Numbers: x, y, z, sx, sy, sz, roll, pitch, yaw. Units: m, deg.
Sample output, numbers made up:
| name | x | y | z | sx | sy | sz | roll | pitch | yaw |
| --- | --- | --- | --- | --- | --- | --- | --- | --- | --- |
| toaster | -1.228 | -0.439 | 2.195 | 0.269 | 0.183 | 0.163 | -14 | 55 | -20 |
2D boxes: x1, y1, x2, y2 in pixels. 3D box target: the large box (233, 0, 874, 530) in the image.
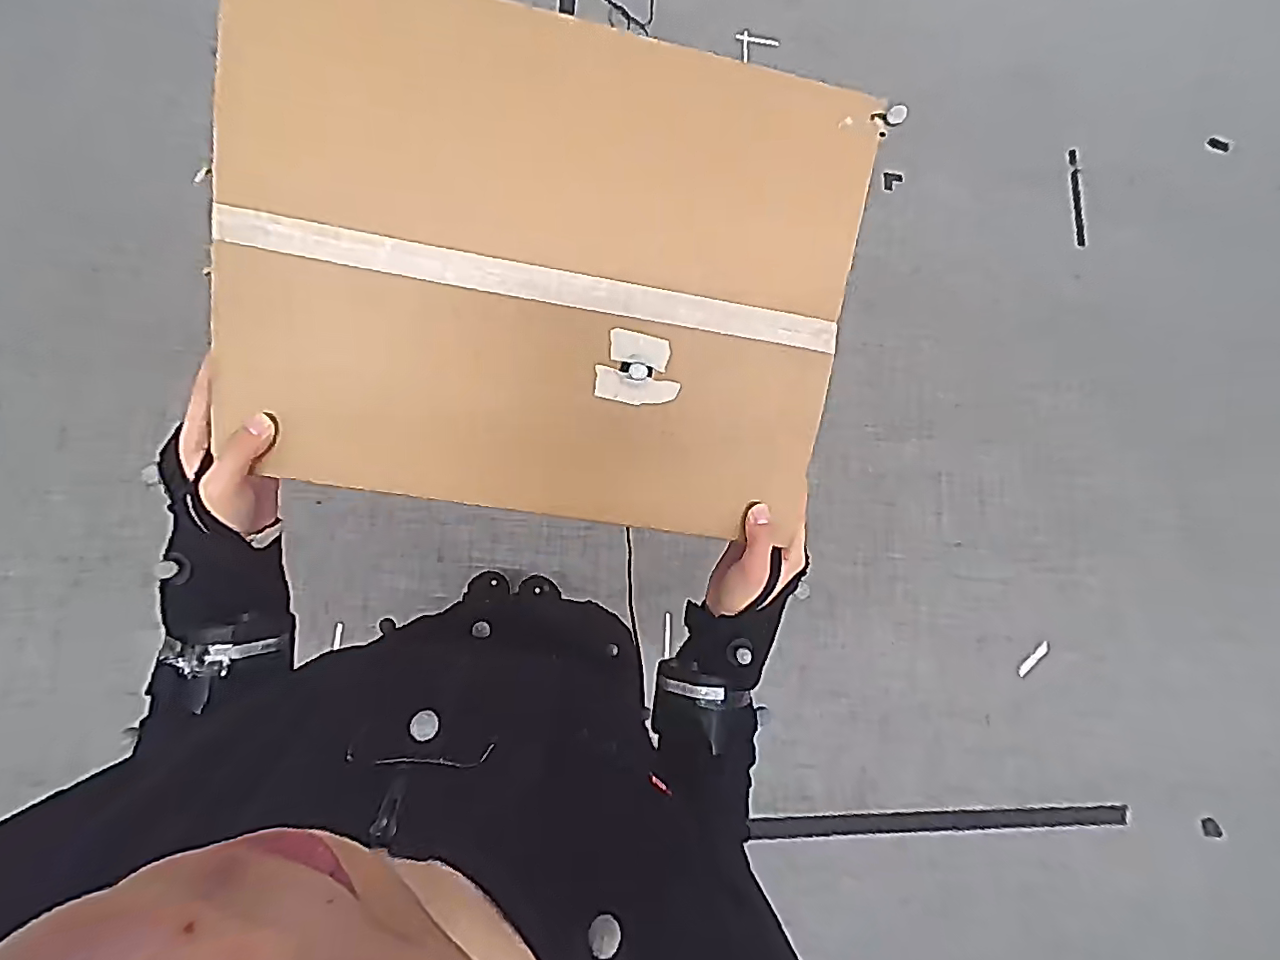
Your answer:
| name | x | y | z | sx | sy | sz | roll | pitch | yaw |
| --- | --- | --- | --- | --- | --- | --- | --- | --- | --- |
| large box | -0.075 | -0.160 | 0.508 | 0.408 | 0.320 | 0.320 | 8 | 101 | -8 |
